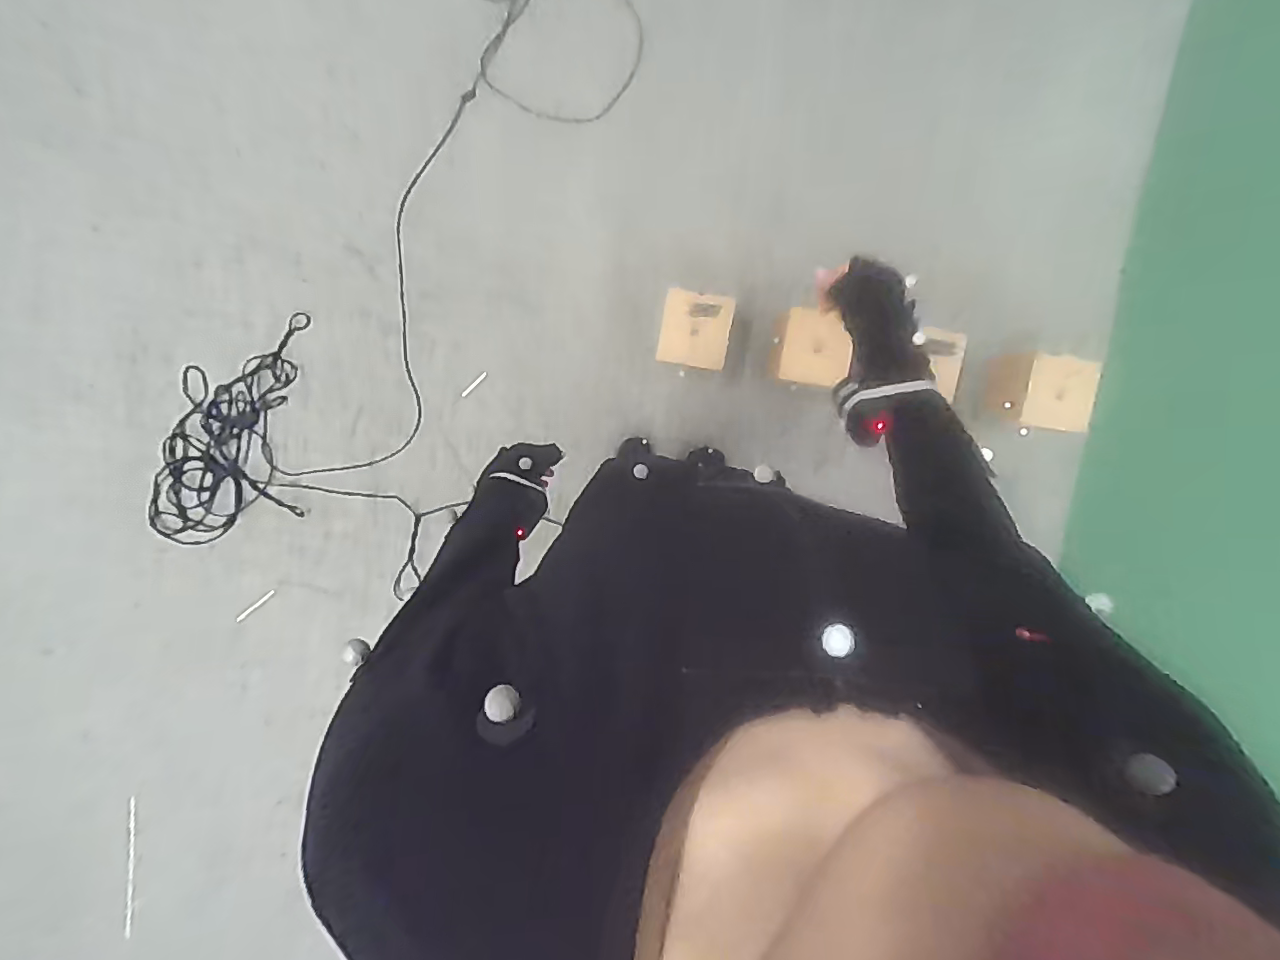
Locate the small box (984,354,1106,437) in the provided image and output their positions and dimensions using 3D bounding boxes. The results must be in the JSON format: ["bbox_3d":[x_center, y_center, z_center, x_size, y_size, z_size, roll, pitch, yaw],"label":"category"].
[{"bbox_3d":[1.008,-0.209,1.364,0.168,0.176,0.179,9,96,-1],"label":"small box"}]

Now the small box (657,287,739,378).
[{"bbox_3d":[0.137,-0.363,1.354,0.168,0.176,0.179,10,96,0],"label":"small box"}]

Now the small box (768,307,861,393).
[{"bbox_3d":[0.428,-0.318,1.357,0.168,0.176,0.179,9,94,0],"label":"small box"}]
